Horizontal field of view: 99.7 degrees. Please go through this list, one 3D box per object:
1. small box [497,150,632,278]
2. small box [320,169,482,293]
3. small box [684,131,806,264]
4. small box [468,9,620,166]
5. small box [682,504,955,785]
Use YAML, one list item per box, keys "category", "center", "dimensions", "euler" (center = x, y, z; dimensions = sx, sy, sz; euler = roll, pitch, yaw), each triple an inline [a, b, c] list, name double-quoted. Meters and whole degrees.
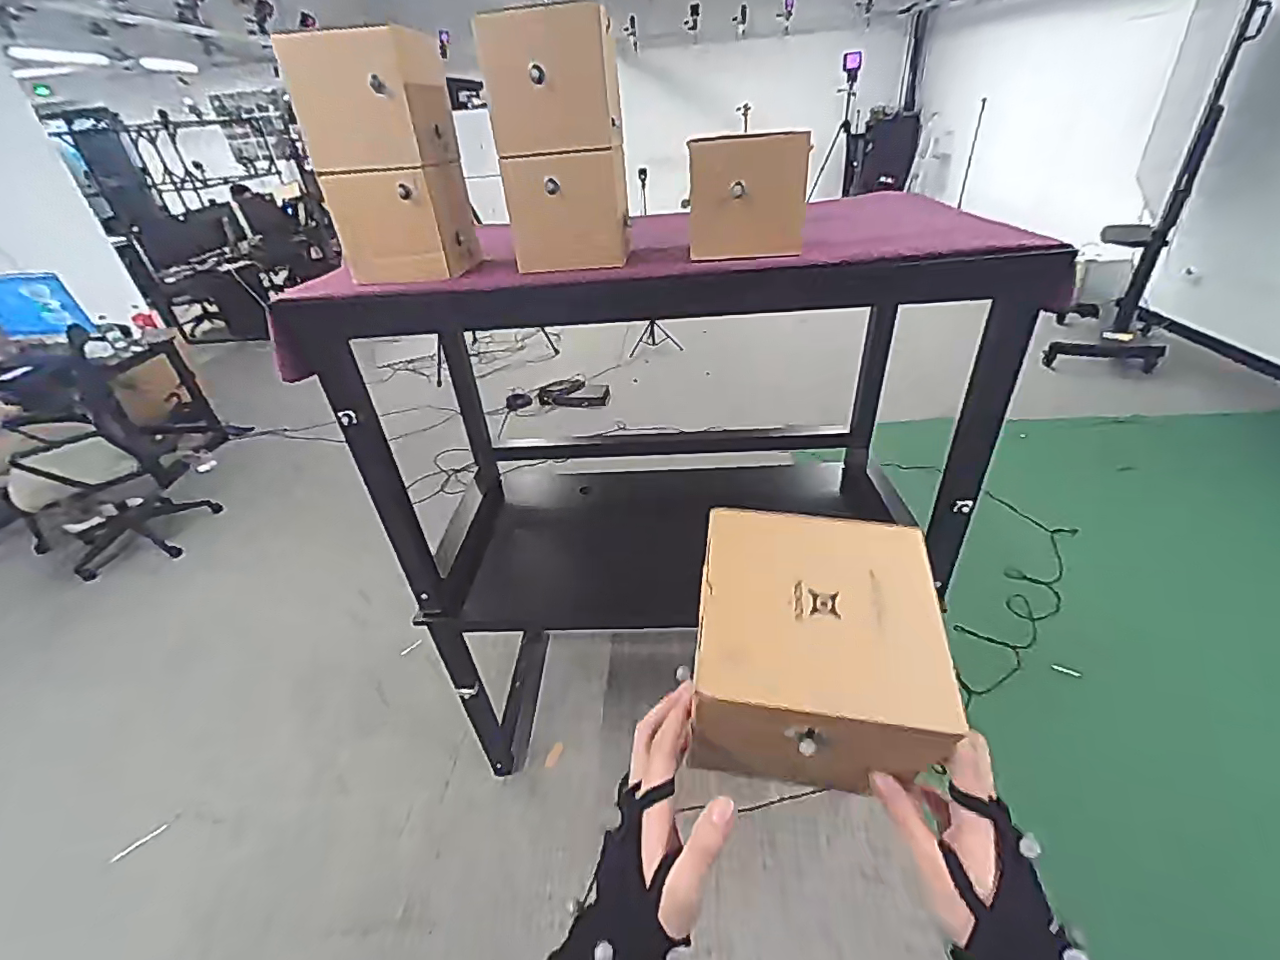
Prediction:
- category: "small box"
  center: [-0.115, -0.446, 0.910]
  dimensions: [0.179, 0.176, 0.168]
  euler: [-2, 34, 7]
- category: "small box"
  center: [-0.395, -0.428, 0.931]
  dimensions: [0.179, 0.176, 0.168]
  euler: [-2, 33, 6]
- category: "small box"
  center: [0.168, -0.459, 0.883]
  dimensions: [0.179, 0.176, 0.168]
  euler: [-2, 34, 8]
- category: "small box"
  center: [-0.130, -0.582, 0.819]
  dimensions: [0.179, 0.176, 0.168]
  euler: [-3, 33, 7]
- category: "small box"
  center: [0.132, 0.142, 0.462]
  dimensions: [0.179, 0.176, 0.168]
  euler: [5, 49, 9]
